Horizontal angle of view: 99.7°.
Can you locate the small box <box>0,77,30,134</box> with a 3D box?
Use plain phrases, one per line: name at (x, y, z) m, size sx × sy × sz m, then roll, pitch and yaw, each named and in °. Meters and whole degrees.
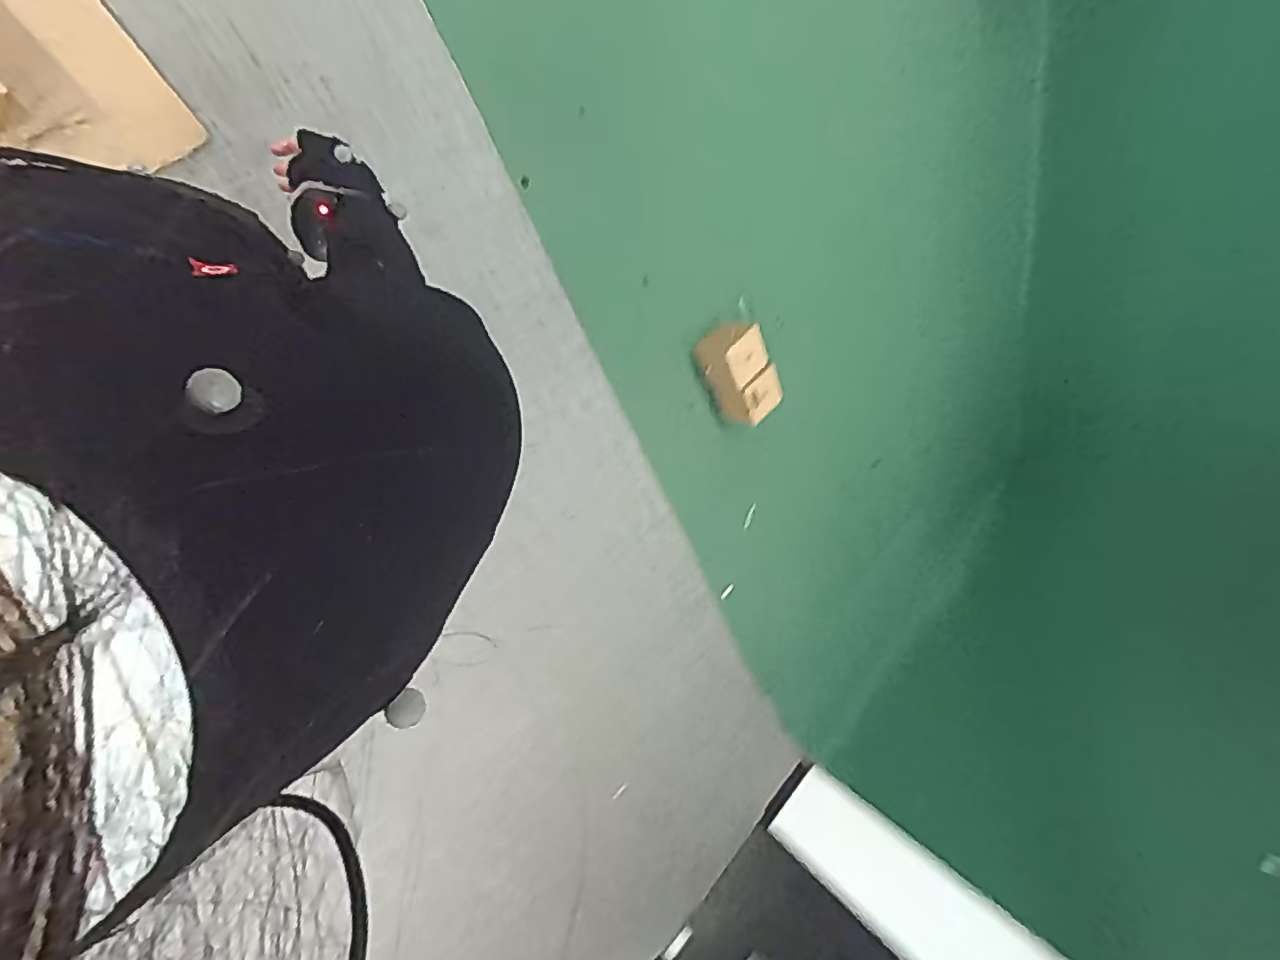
small box at (-1.061, -0.595, 0.778) m, size 0.168 × 0.176 × 0.179 m, roll -47°, pitch 131°, yaw -17°
